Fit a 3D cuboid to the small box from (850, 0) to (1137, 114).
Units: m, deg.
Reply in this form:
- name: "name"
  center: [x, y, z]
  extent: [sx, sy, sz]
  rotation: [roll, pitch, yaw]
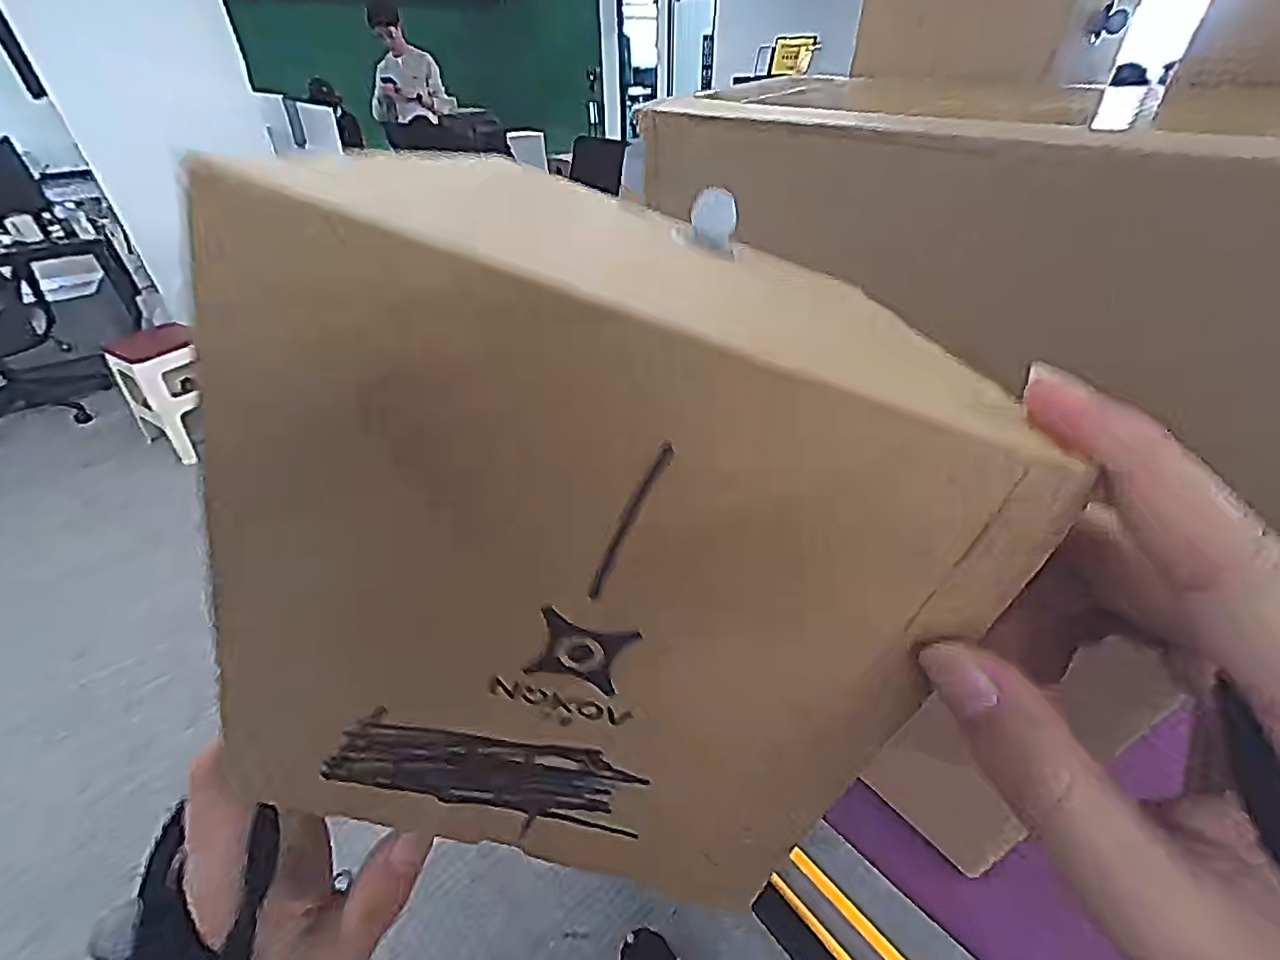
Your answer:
- name: "small box"
  center: [0.314, -0.429, 0.473]
  extent: [0.168, 0.176, 0.179]
  rotation: [-29, 48, -29]

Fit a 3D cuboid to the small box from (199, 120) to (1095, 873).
- name: "small box"
  center: [-0.012, -0.001, 0.202]
  extent: [0.168, 0.179, 0.176]
  rotation: [17, 30, -7]
